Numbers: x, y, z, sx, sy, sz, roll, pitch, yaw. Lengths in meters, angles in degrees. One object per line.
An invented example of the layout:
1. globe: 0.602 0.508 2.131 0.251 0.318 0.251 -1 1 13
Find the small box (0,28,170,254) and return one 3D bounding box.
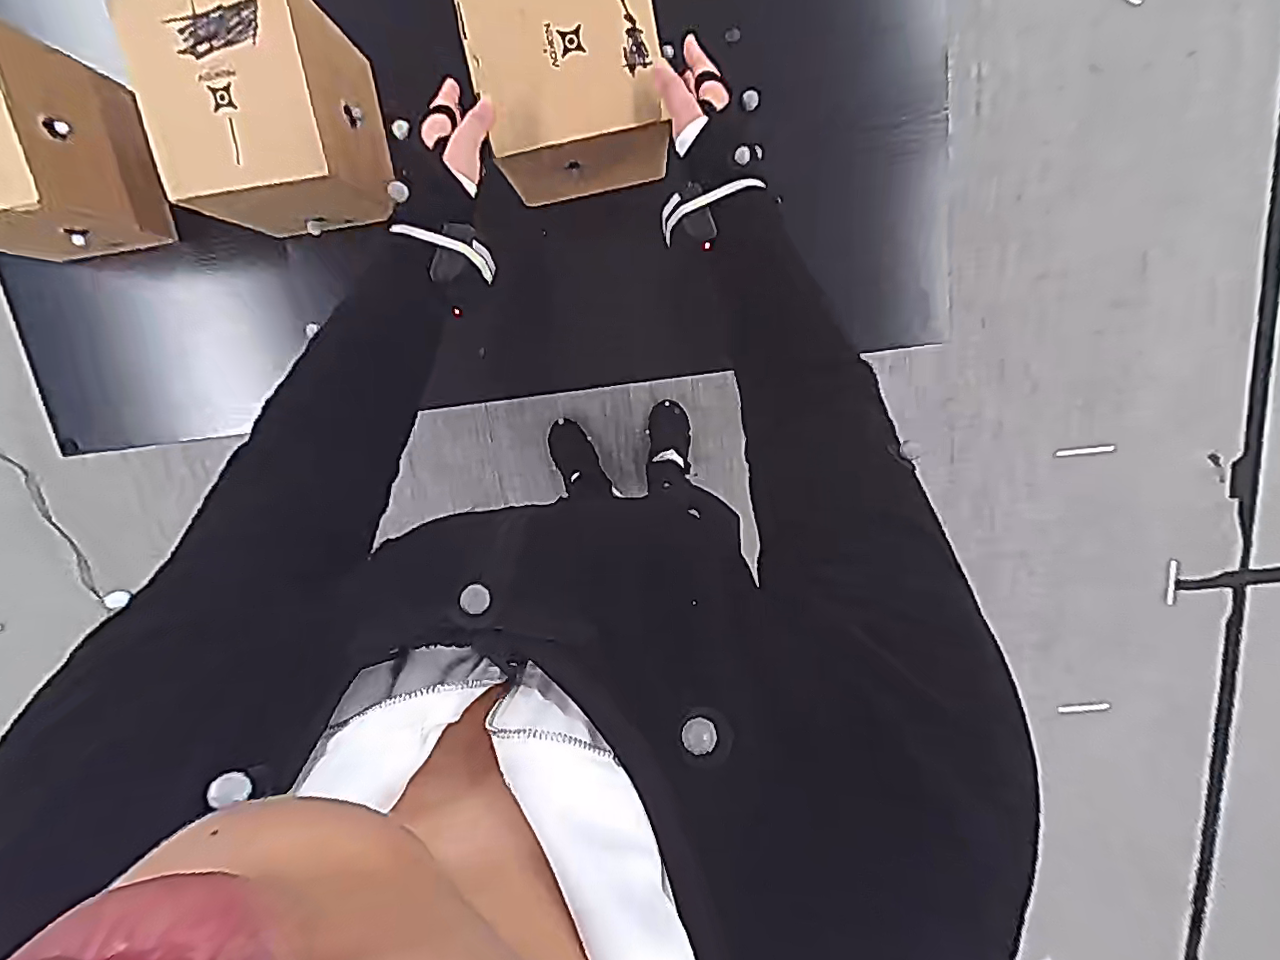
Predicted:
1. small box: -0.676 -0.358 0.591 0.168 0.176 0.179 -9 102 1

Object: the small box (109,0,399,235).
1. small box: -0.390 -0.385 0.583 0.168 0.176 0.179 -8 103 2

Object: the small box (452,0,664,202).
1. small box: -0.074 -0.419 0.576 0.179 0.176 0.168 -11 102 3
